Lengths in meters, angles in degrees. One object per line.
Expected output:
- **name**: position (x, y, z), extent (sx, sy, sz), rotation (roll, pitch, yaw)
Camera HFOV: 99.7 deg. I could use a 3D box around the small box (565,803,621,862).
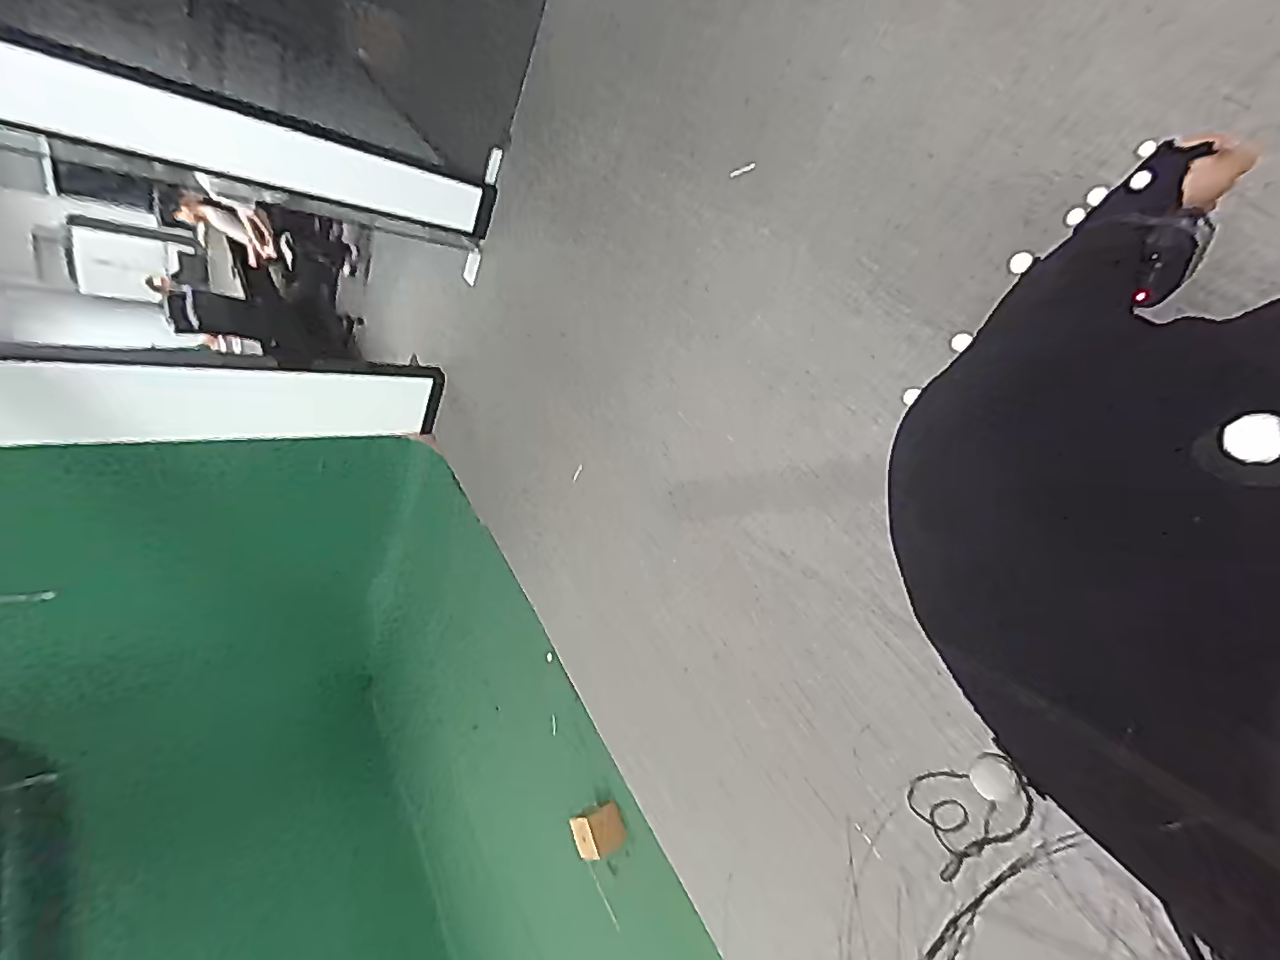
- **small box**: position (-0.216, 1.634, 2.509), extent (0.168, 0.176, 0.179), rotation (-37, 67, 42)
